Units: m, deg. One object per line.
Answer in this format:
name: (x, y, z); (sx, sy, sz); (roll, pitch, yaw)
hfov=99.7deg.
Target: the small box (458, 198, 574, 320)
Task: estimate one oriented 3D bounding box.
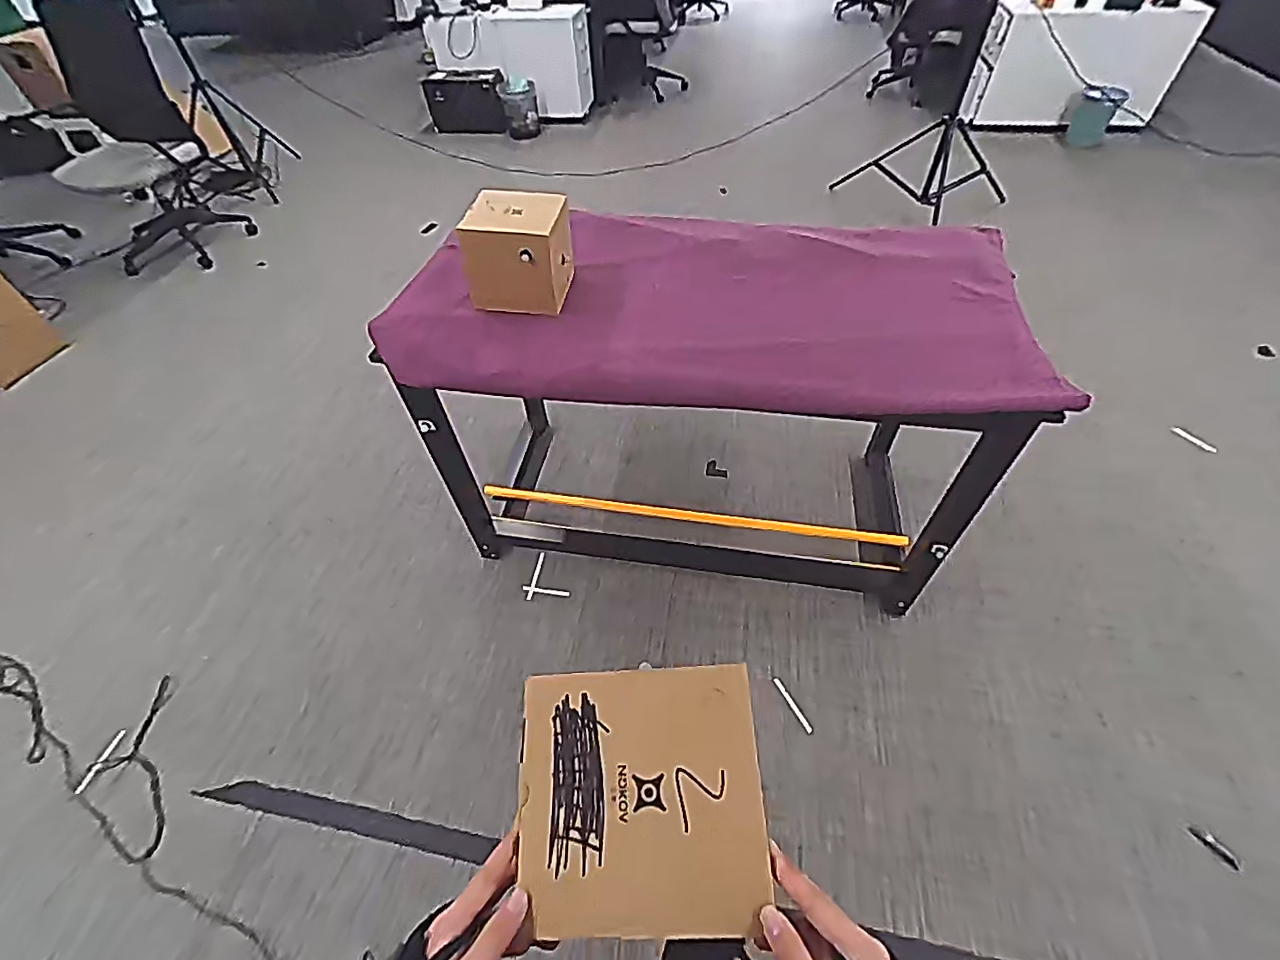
small box: (-0.236, -0.440, 1.088); (0.179, 0.176, 0.168); (6, 50, 4)
